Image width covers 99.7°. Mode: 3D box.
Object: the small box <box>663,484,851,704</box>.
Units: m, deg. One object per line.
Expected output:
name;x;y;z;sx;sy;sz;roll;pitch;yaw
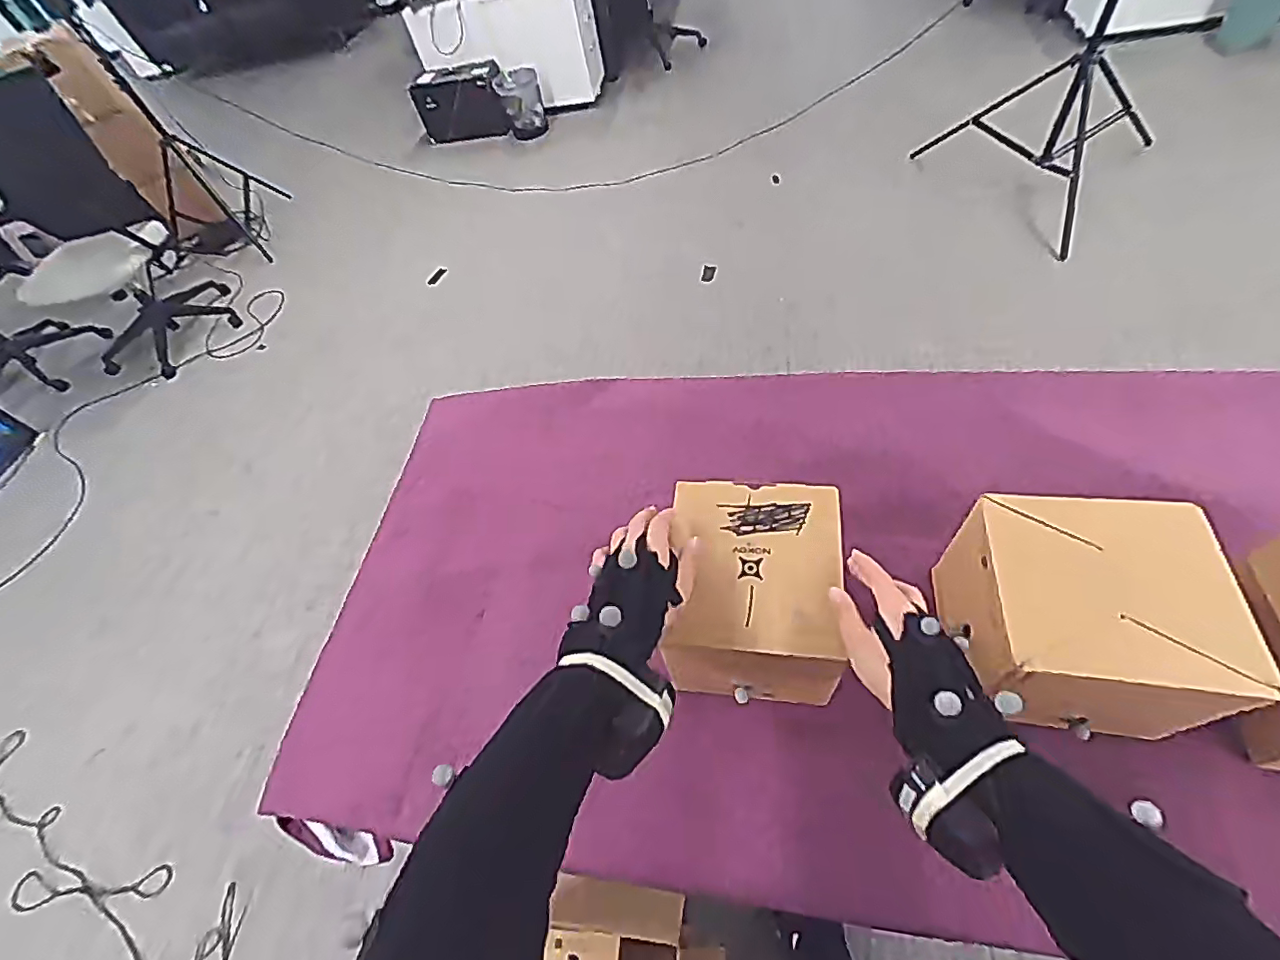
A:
small box;0.125;0.124;0.584;0.168;0.176;0.179;2;56;13

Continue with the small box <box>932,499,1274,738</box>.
small box;0.406;0.130;0.517;0.179;0.176;0.168;3;55;14

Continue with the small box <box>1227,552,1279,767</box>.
small box;0.643;0.150;0.455;0.179;0.176;0.168;3;54;13
